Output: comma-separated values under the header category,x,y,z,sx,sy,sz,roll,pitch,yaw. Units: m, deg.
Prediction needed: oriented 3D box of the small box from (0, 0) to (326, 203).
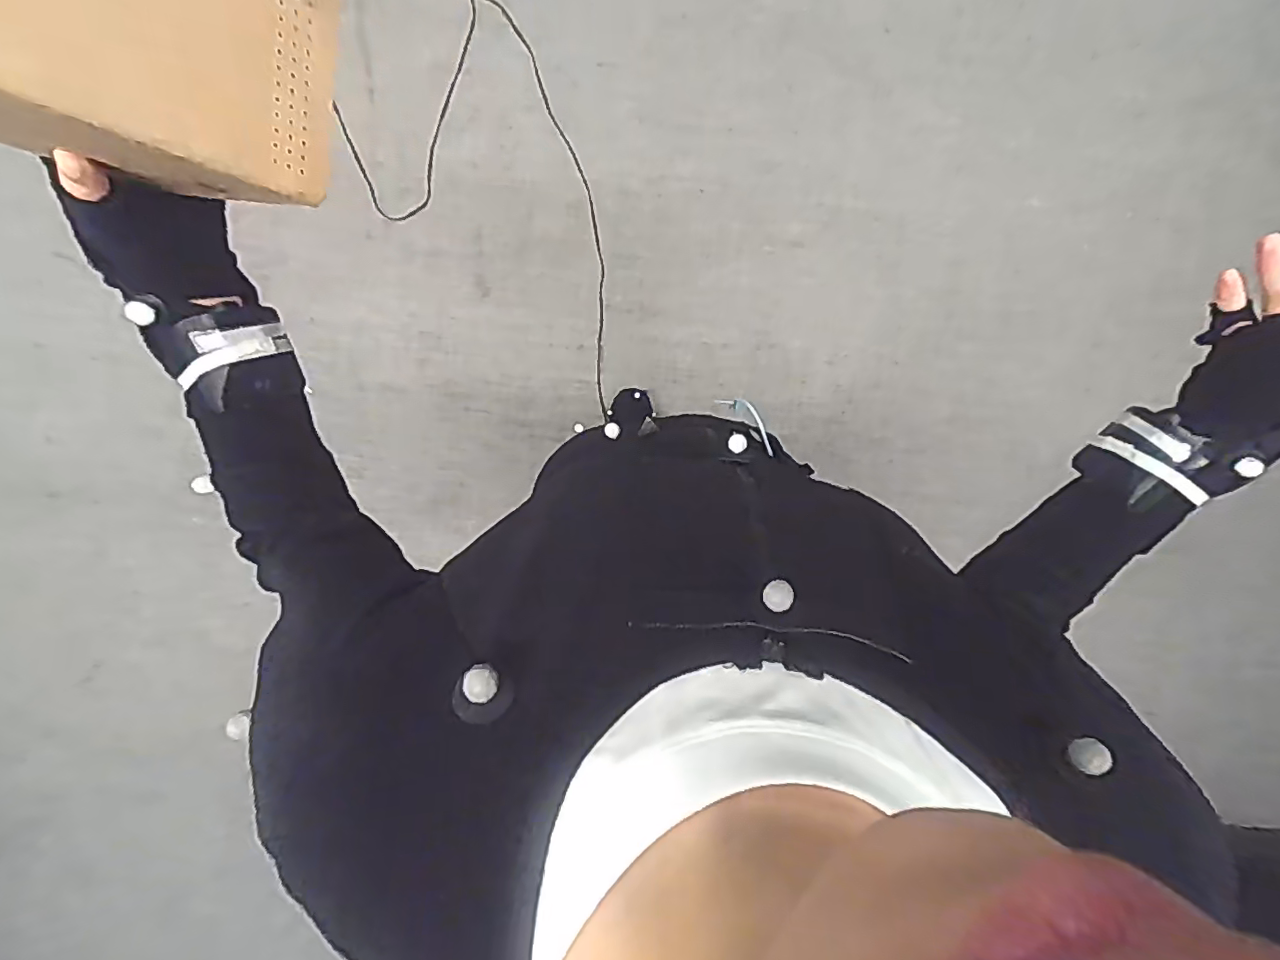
category,x,y,z,sx,sy,sz,roll,pitch,yaw
small box,-0.246,-0.232,0.204,0.168,0.176,0.179,16,103,21
